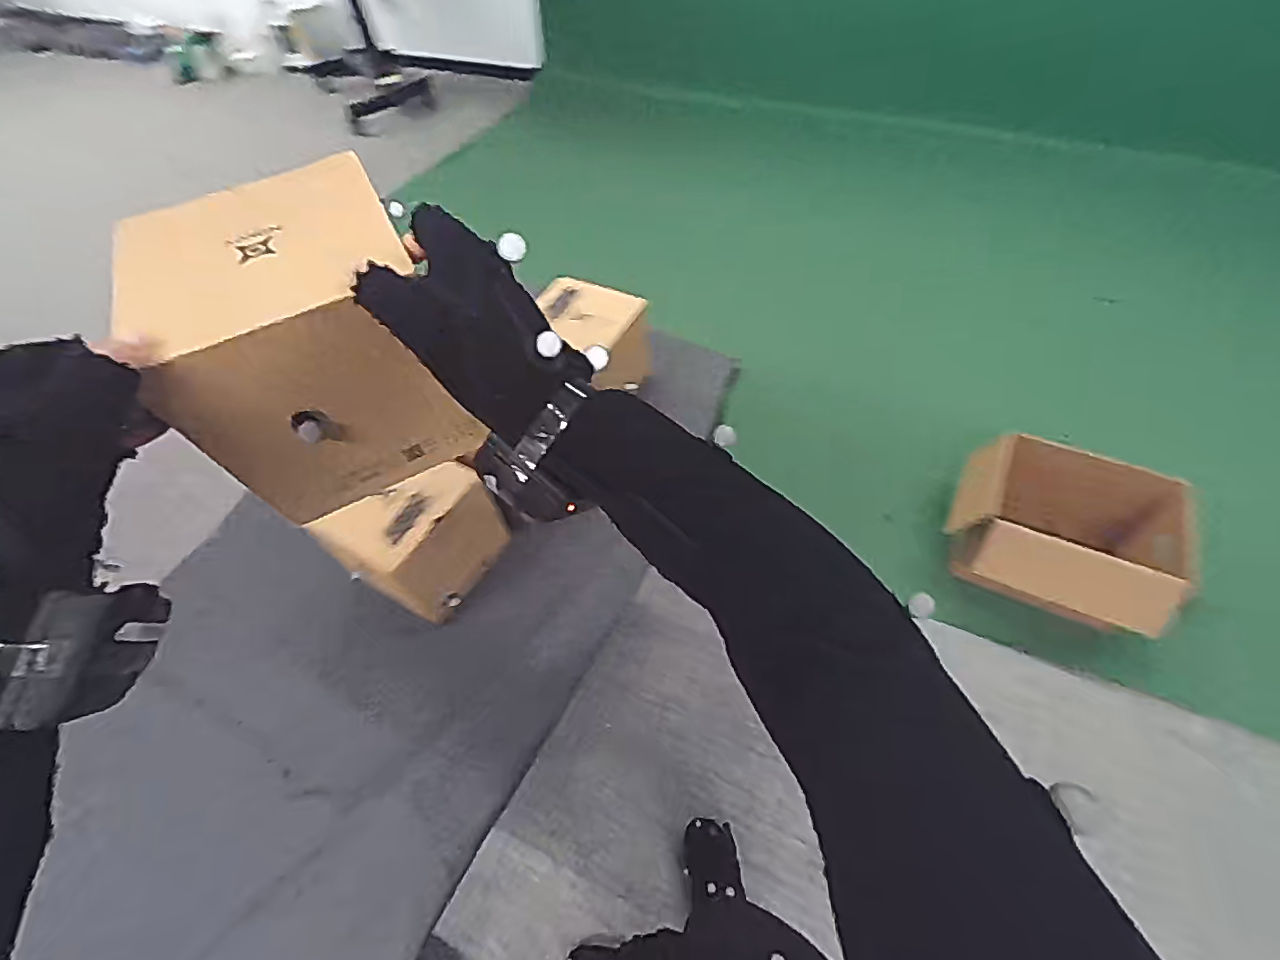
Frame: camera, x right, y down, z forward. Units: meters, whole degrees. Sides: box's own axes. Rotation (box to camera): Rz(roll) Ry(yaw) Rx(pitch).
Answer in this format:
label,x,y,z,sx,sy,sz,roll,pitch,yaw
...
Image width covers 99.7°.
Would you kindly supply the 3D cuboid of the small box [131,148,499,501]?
label,x,y,z,sx,sy,sz,roll,pitch,yaw
small box,-0.226,-0.106,0.409,0.168,0.176,0.179,-26,58,-12
